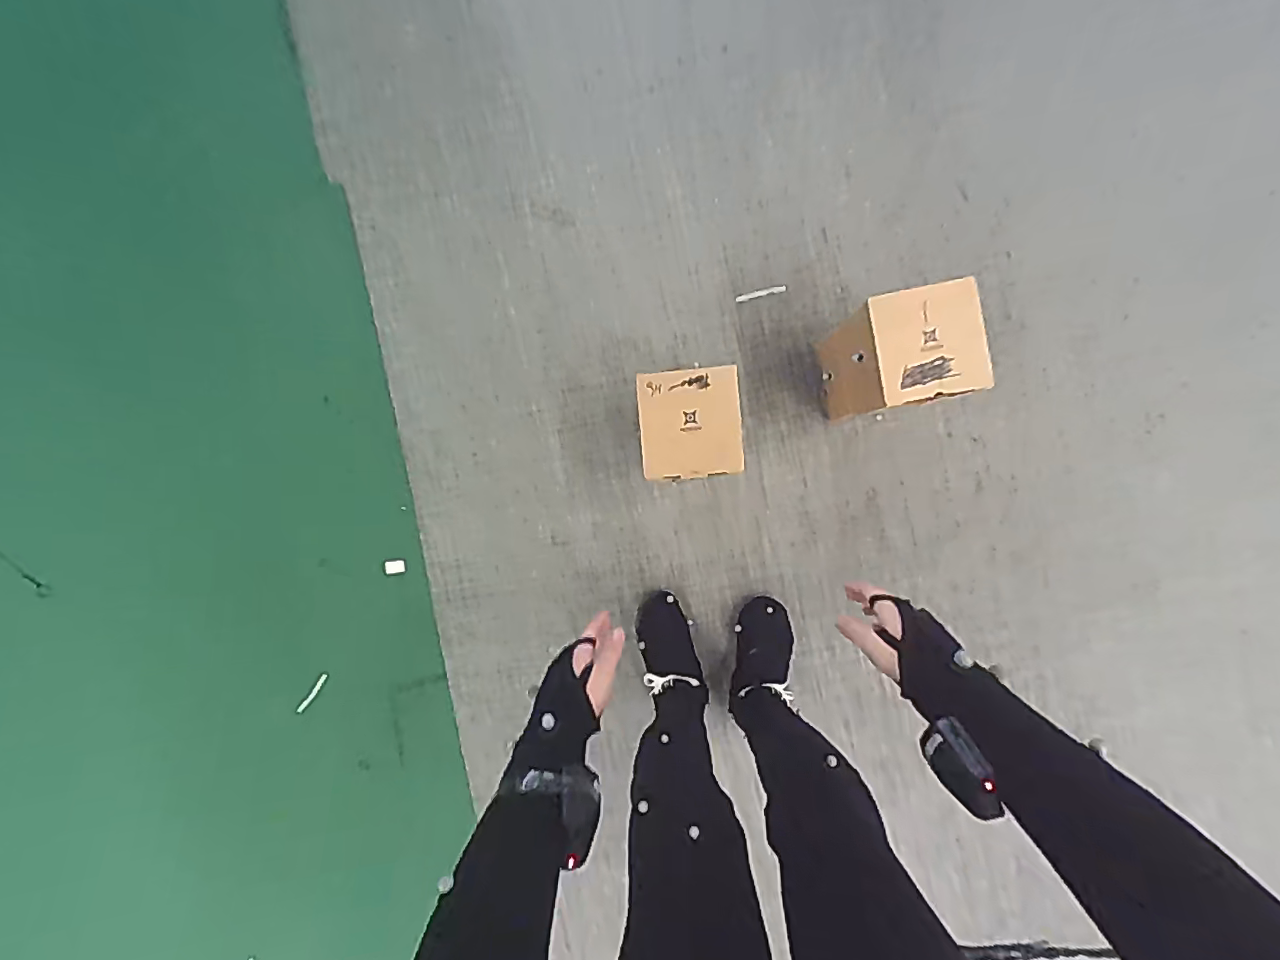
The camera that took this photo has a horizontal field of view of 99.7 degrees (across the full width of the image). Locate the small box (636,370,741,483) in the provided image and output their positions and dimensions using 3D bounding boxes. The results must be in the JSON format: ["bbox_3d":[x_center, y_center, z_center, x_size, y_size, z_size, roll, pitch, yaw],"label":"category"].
[{"bbox_3d":[0.088,-0.089,0.964,0.168,0.176,0.179,-5,90,5],"label":"small box"}]

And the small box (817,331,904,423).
[{"bbox_3d":[0.467,-0.216,1.088,0.179,0.176,0.168,-12,90,6],"label":"small box"}]

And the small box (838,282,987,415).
[{"bbox_3d":[0.453,-0.211,0.925,0.168,0.176,0.179,-10,89,6],"label":"small box"}]
